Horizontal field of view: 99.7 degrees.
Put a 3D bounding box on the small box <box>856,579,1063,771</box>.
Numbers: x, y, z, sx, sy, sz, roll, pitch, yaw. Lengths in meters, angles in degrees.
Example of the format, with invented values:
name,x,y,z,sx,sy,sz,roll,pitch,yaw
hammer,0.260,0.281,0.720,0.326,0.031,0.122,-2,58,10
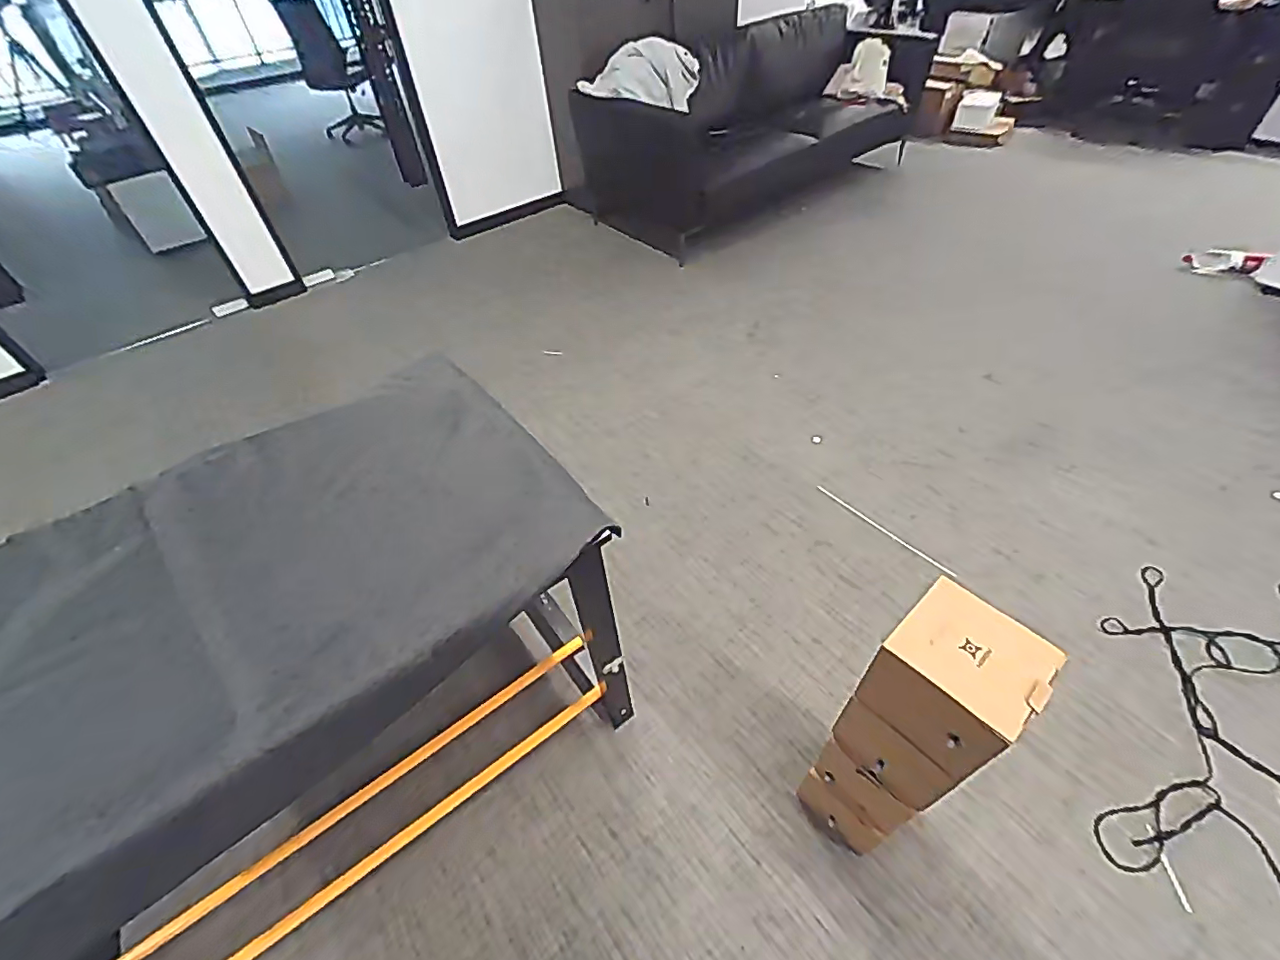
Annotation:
name,x,y,z,sx,sy,sz,roll,pitch,yaw
small box,0.445,0.286,0.778,0.168,0.176,0.179,-34,52,-27

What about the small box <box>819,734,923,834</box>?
name,x,y,z,sx,sy,sz,roll,pitch,yaw
small box,0.456,0.516,1.010,0.179,0.176,0.168,-35,53,-27

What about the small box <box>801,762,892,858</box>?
name,x,y,z,sx,sy,sz,roll,pitch,yaw
small box,0.456,0.636,1.123,0.179,0.176,0.168,-36,53,-26

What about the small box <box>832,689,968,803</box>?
name,x,y,z,sx,sy,sz,roll,pitch,yaw
small box,0.450,0.400,0.895,0.168,0.176,0.179,-35,54,-27
